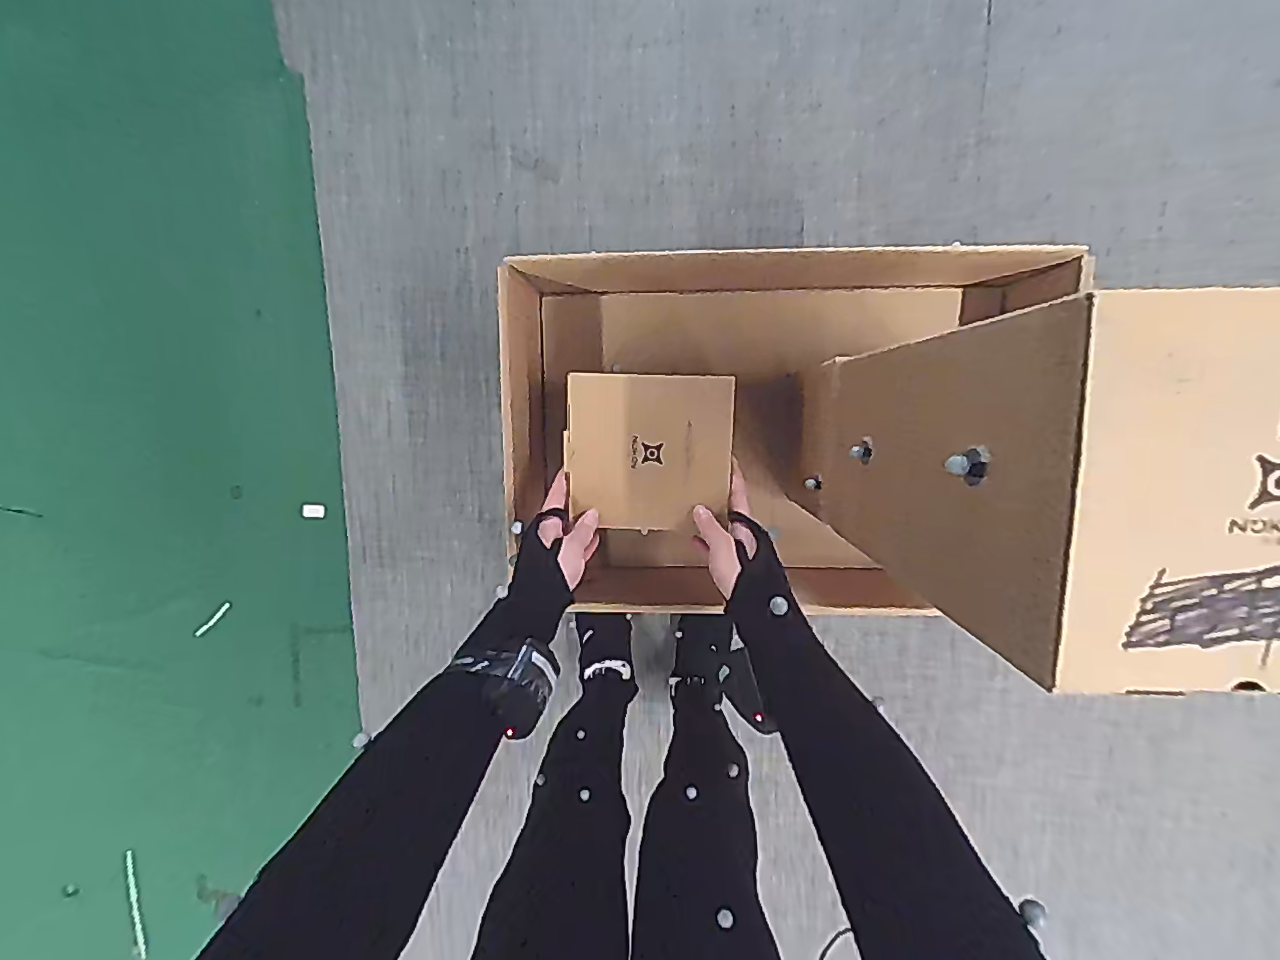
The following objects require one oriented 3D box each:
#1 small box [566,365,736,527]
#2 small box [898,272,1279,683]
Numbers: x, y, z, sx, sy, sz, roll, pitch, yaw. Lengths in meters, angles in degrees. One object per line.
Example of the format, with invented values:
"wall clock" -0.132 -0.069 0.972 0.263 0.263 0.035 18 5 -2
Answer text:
"small box" 0.014 -0.044 0.647 0.179 0.176 0.168 2 98 2
"small box" 0.263 -0.007 0.305 0.168 0.176 0.179 0 97 3
